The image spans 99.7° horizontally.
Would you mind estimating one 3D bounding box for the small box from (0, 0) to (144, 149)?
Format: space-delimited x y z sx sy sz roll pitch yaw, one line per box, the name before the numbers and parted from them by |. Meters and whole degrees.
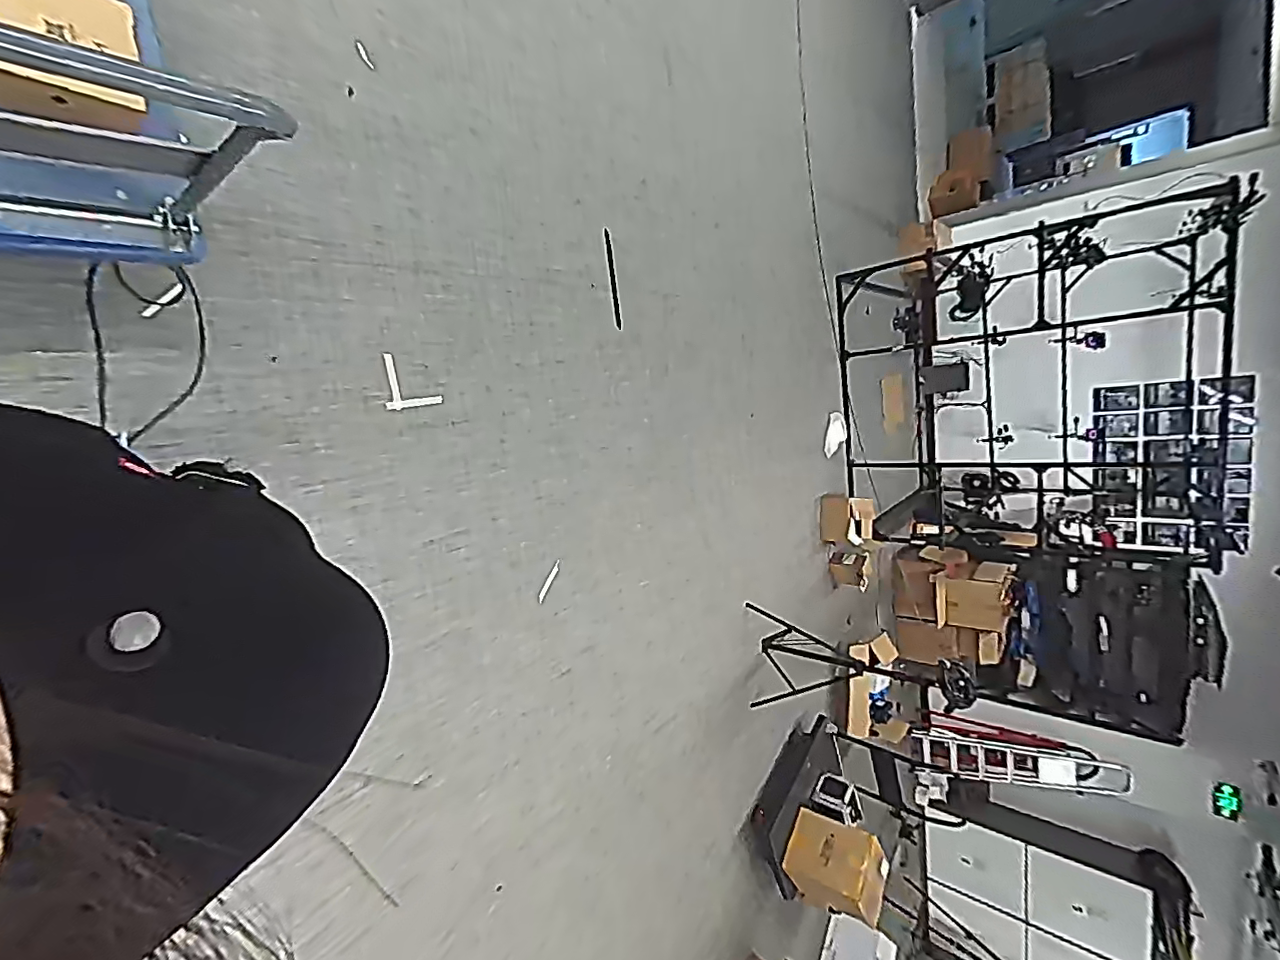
small box | -0.938 -0.672 0.874 0.179 0.176 0.168 -10 99 -48
